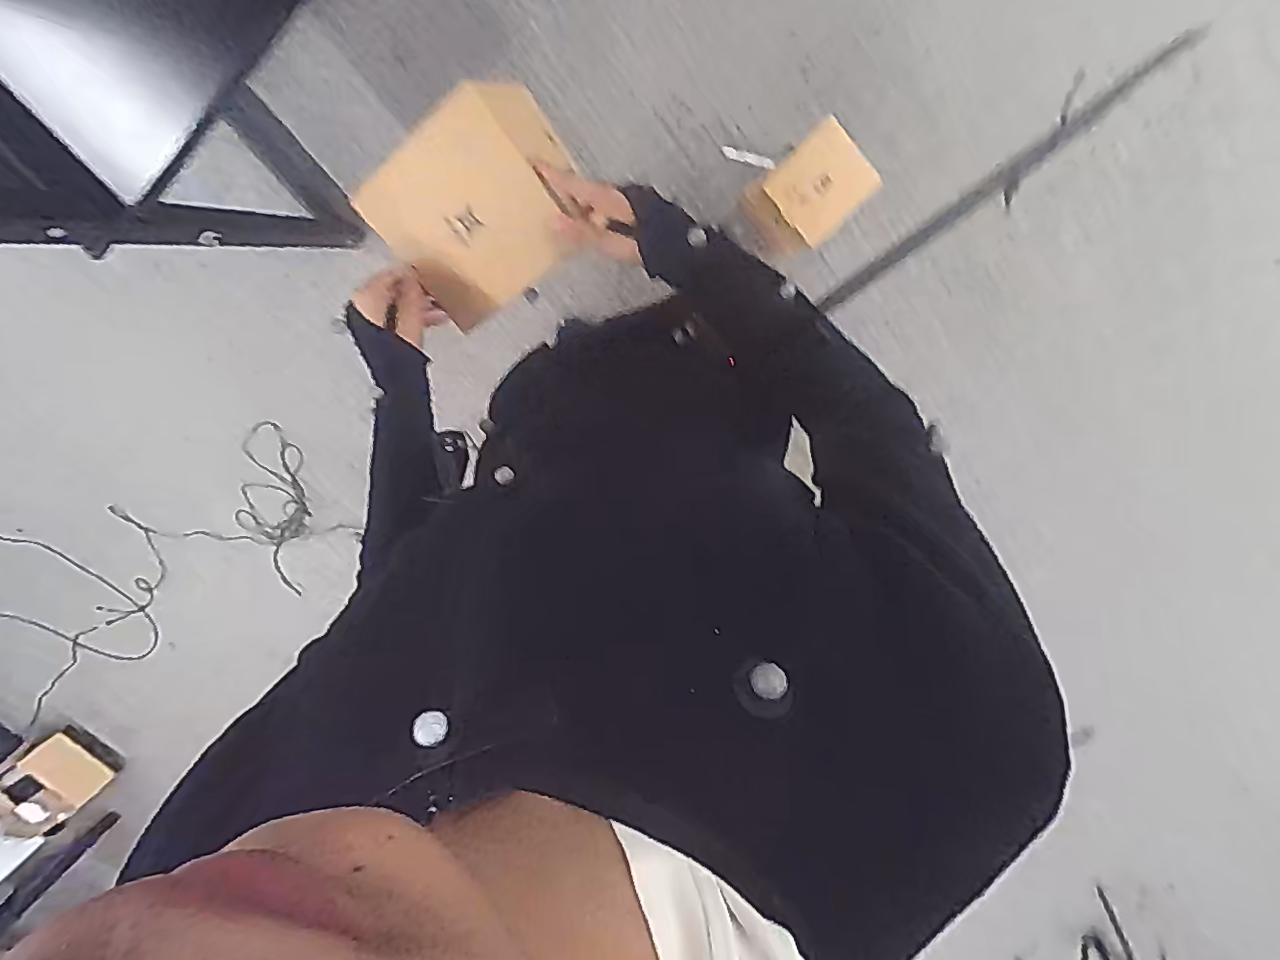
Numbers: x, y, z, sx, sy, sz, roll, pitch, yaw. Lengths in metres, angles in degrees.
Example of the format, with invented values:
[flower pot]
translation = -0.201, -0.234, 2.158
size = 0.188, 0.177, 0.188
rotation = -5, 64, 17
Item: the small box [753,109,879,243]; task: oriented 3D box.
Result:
[small box]
translation = 0.358, -0.626, 1.136
size = 0.179, 0.176, 0.168
rotation = -41, 105, 19
